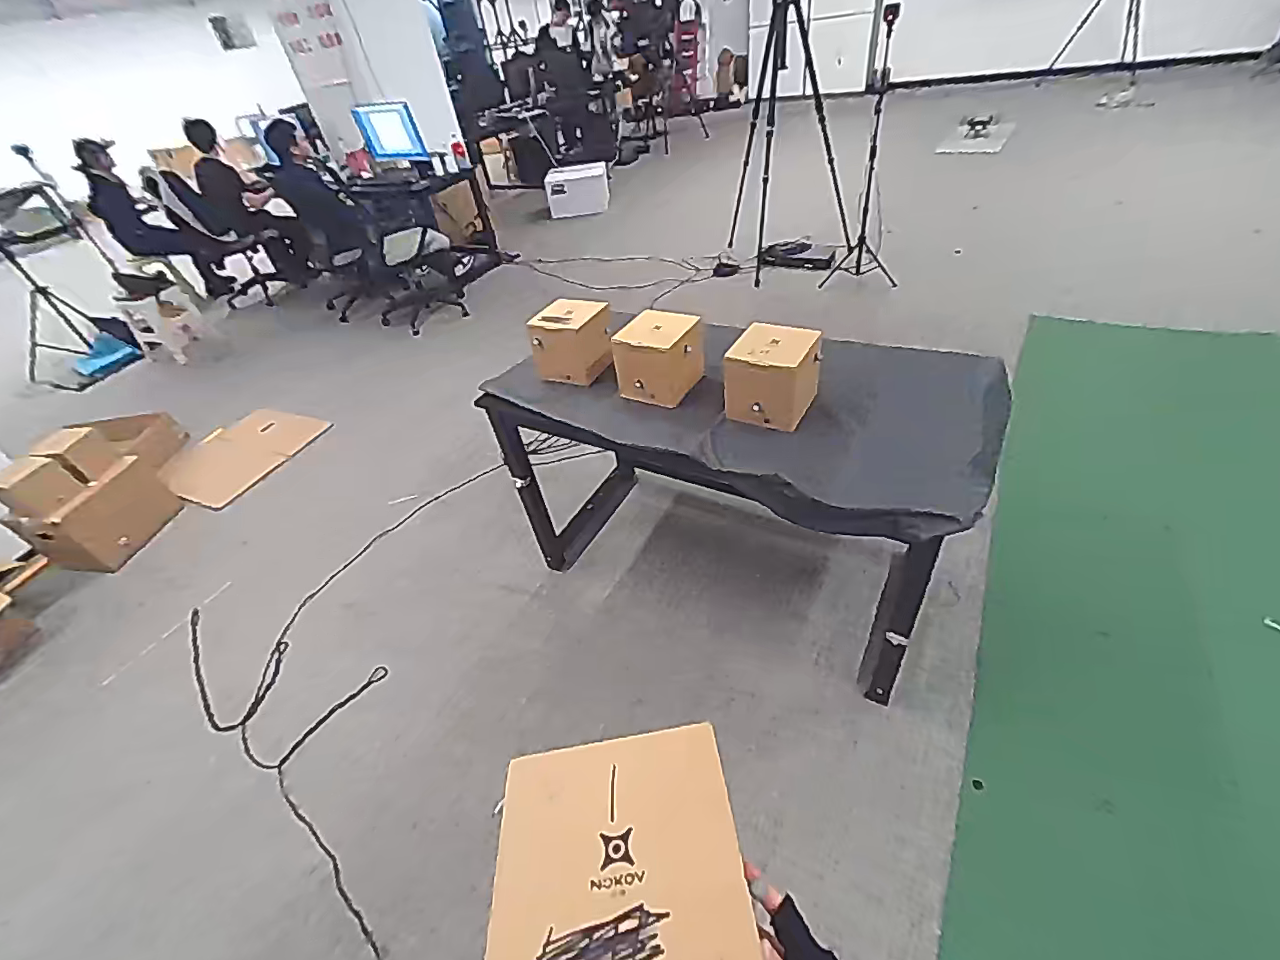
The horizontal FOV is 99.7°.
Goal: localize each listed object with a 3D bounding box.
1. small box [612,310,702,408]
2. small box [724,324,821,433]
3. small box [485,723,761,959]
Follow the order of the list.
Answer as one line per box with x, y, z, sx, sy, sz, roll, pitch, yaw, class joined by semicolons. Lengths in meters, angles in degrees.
0.048;-0.312;1.387;0.168;0.176;0.179;18;48;27;small box
0.304;-0.237;1.252;0.168;0.176;0.179;17;48;28;small box
-0.002;0.318;0.400;0.168;0.176;0.179;-10;32;1;small box
